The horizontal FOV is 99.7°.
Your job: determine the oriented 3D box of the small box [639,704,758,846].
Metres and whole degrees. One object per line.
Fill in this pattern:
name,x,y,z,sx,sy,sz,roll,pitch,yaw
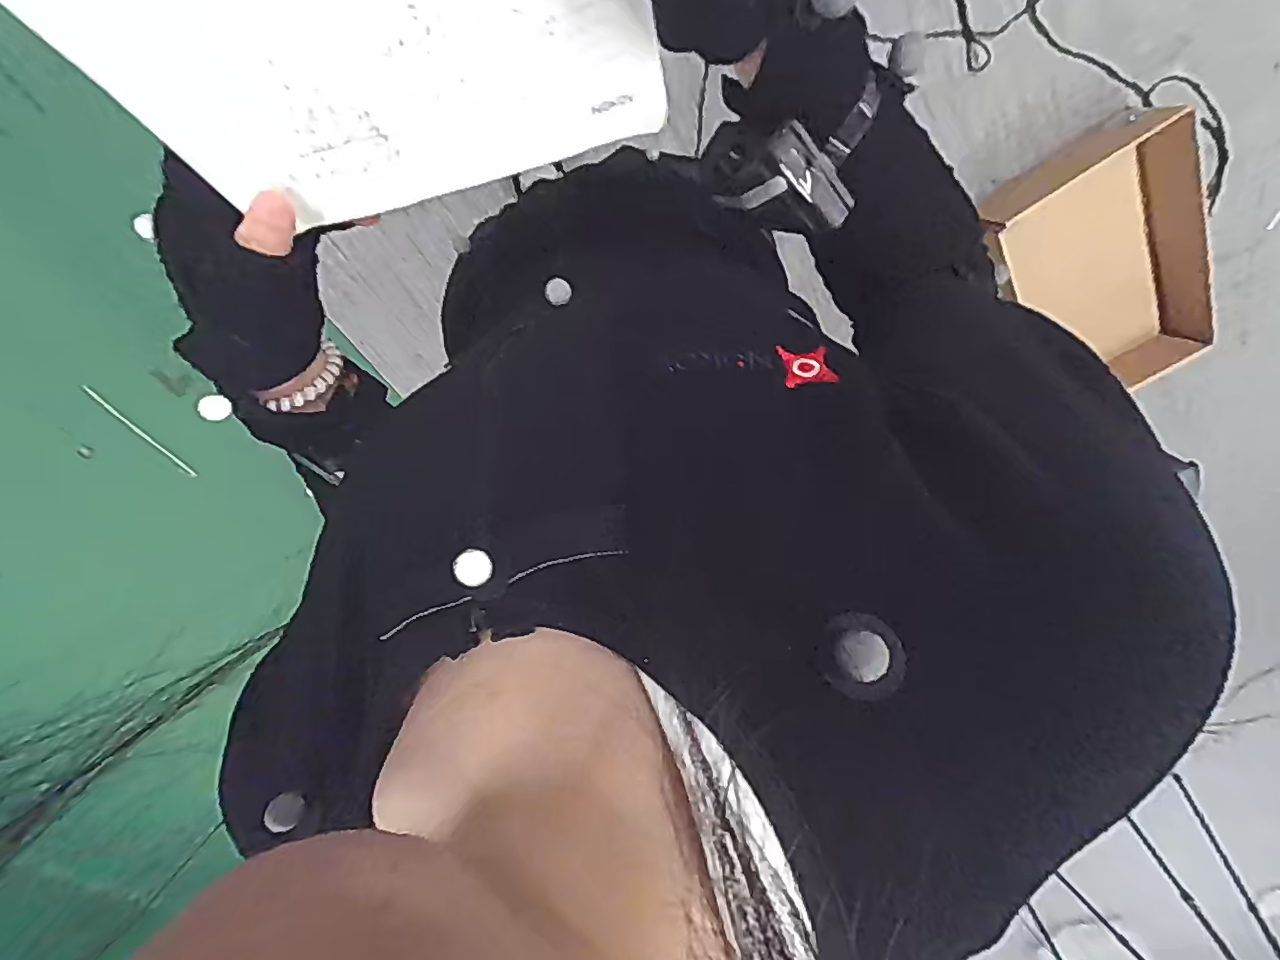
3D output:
small box,0.110,0.576,1.062,0.168,0.176,0.179,-26,121,10
